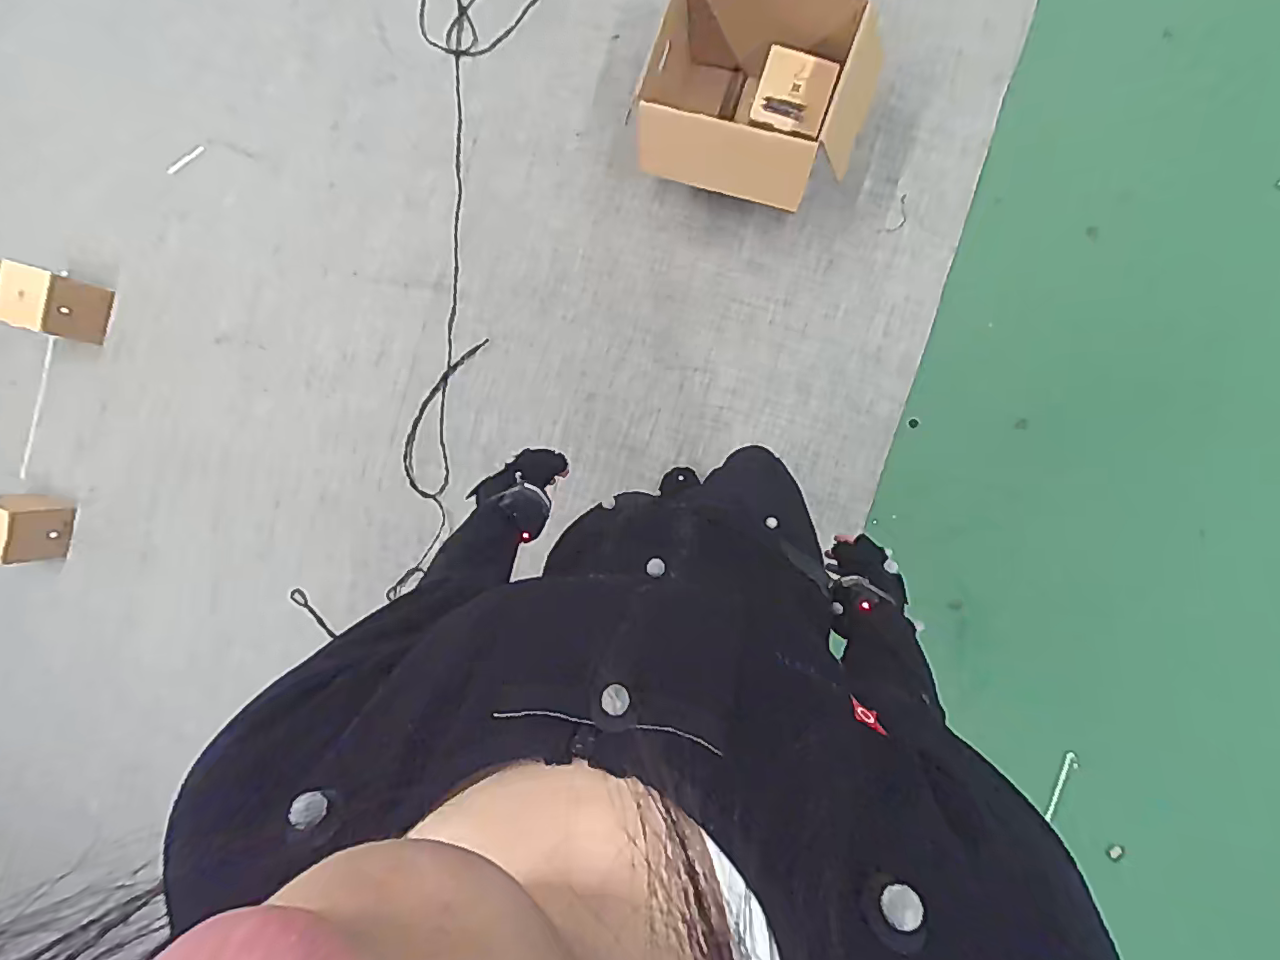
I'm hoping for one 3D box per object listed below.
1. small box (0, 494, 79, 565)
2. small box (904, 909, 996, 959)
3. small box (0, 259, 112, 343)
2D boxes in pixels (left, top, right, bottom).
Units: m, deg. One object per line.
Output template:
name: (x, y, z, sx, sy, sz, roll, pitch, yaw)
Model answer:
small box: (-1.888, 0.143, 1.645, 0.179, 0.176, 0.168, 16, 95, 6)
small box: (0.789, 1.243, 1.353, 0.168, 0.176, 0.179, 19, 94, 6)
small box: (-1.725, -0.521, 1.595, 0.168, 0.176, 0.179, 16, 95, 6)
